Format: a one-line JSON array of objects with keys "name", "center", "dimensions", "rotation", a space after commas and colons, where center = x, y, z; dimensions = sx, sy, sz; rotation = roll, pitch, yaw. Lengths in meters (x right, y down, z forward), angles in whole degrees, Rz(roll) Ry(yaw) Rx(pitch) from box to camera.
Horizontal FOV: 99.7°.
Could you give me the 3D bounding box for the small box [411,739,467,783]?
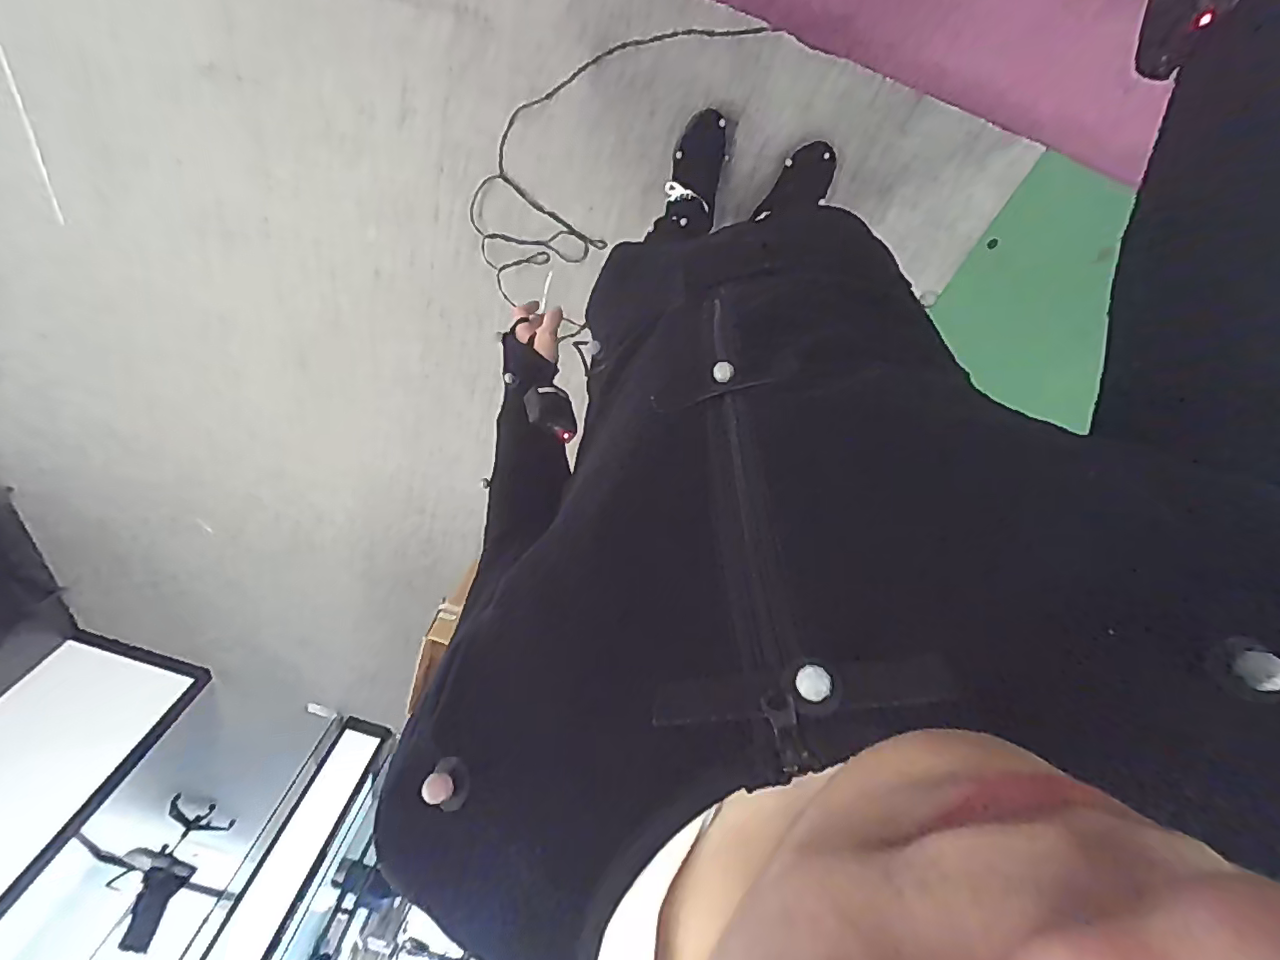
[{"name": "small box", "center": [-0.698, 0.949, 1.947], "dimensions": [0.168, 0.176, 0.179], "rotation": [23, 125, -6]}]
